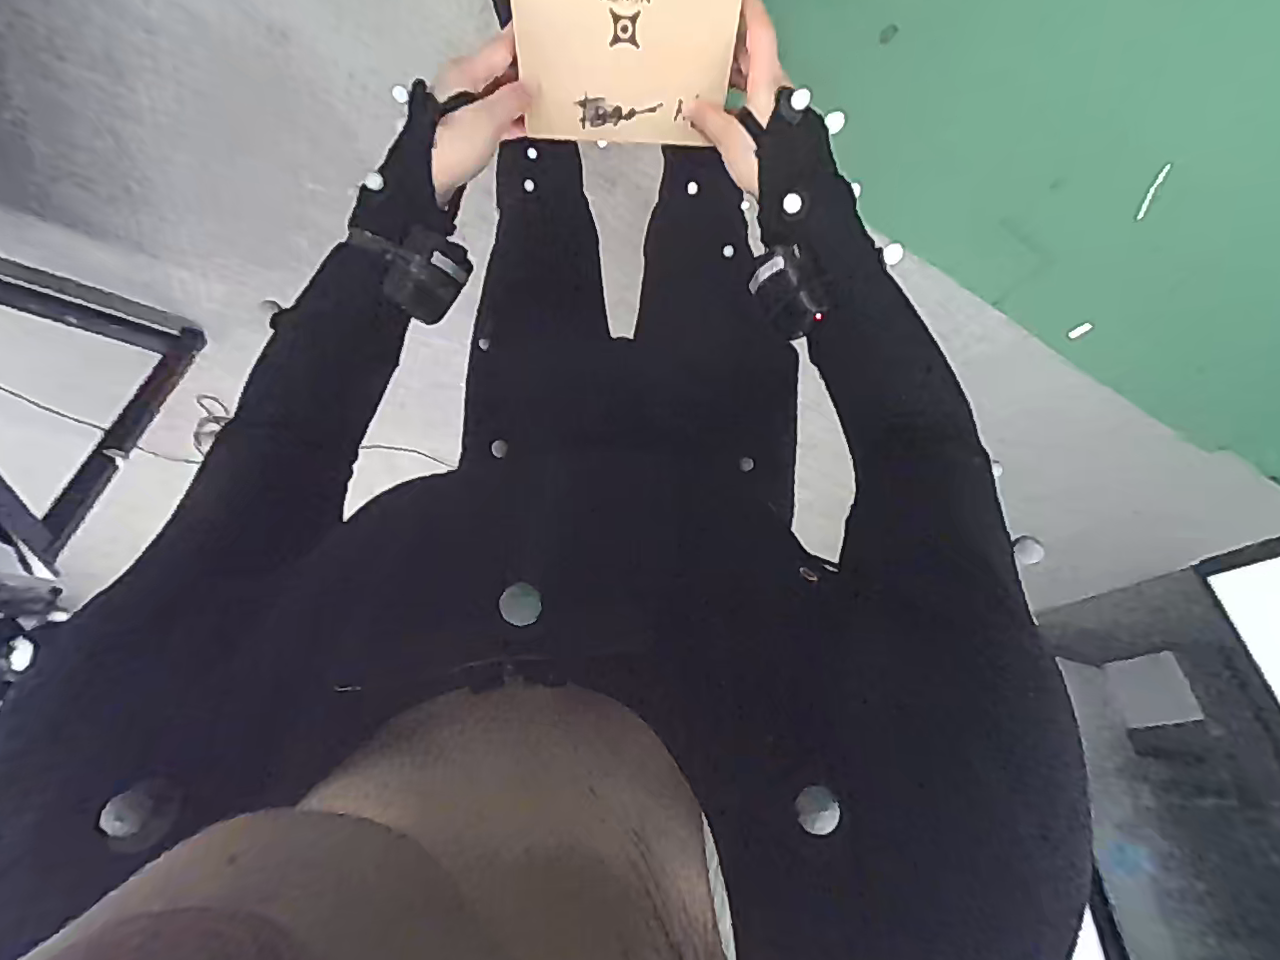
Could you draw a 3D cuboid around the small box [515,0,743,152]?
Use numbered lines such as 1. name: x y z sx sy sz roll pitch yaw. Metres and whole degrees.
1. small box: -0.012 -0.400 0.437 0.168 0.176 0.179 0 149 -4
